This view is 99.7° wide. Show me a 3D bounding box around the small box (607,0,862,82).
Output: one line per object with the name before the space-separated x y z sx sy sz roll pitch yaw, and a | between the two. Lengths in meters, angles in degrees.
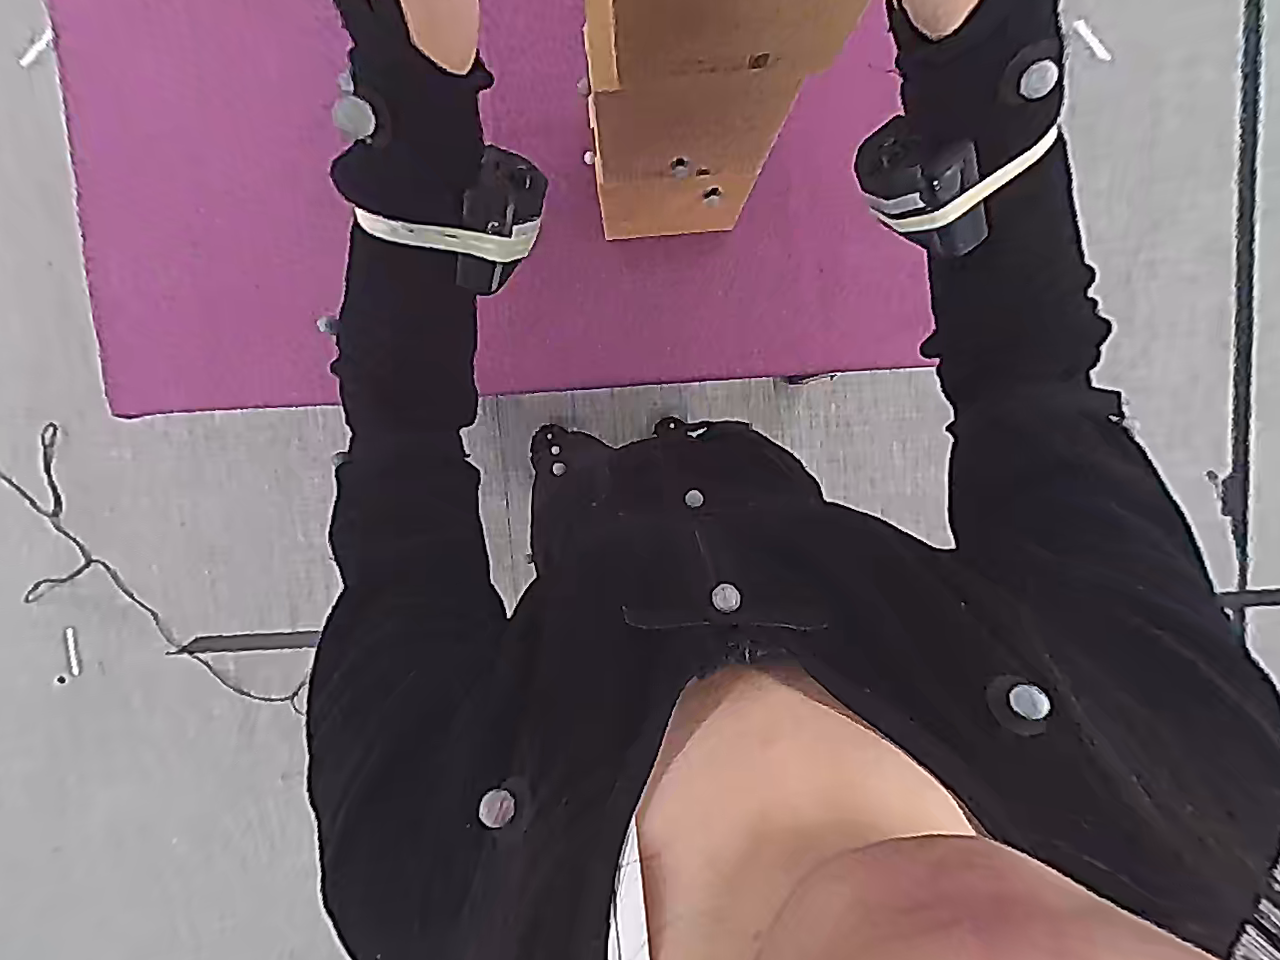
small box | 0.057 -0.381 0.317 0.168 0.176 0.179 -5 95 0

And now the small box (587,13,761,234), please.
small box | 0.036 -0.410 0.643 0.179 0.176 0.168 -5 95 1
